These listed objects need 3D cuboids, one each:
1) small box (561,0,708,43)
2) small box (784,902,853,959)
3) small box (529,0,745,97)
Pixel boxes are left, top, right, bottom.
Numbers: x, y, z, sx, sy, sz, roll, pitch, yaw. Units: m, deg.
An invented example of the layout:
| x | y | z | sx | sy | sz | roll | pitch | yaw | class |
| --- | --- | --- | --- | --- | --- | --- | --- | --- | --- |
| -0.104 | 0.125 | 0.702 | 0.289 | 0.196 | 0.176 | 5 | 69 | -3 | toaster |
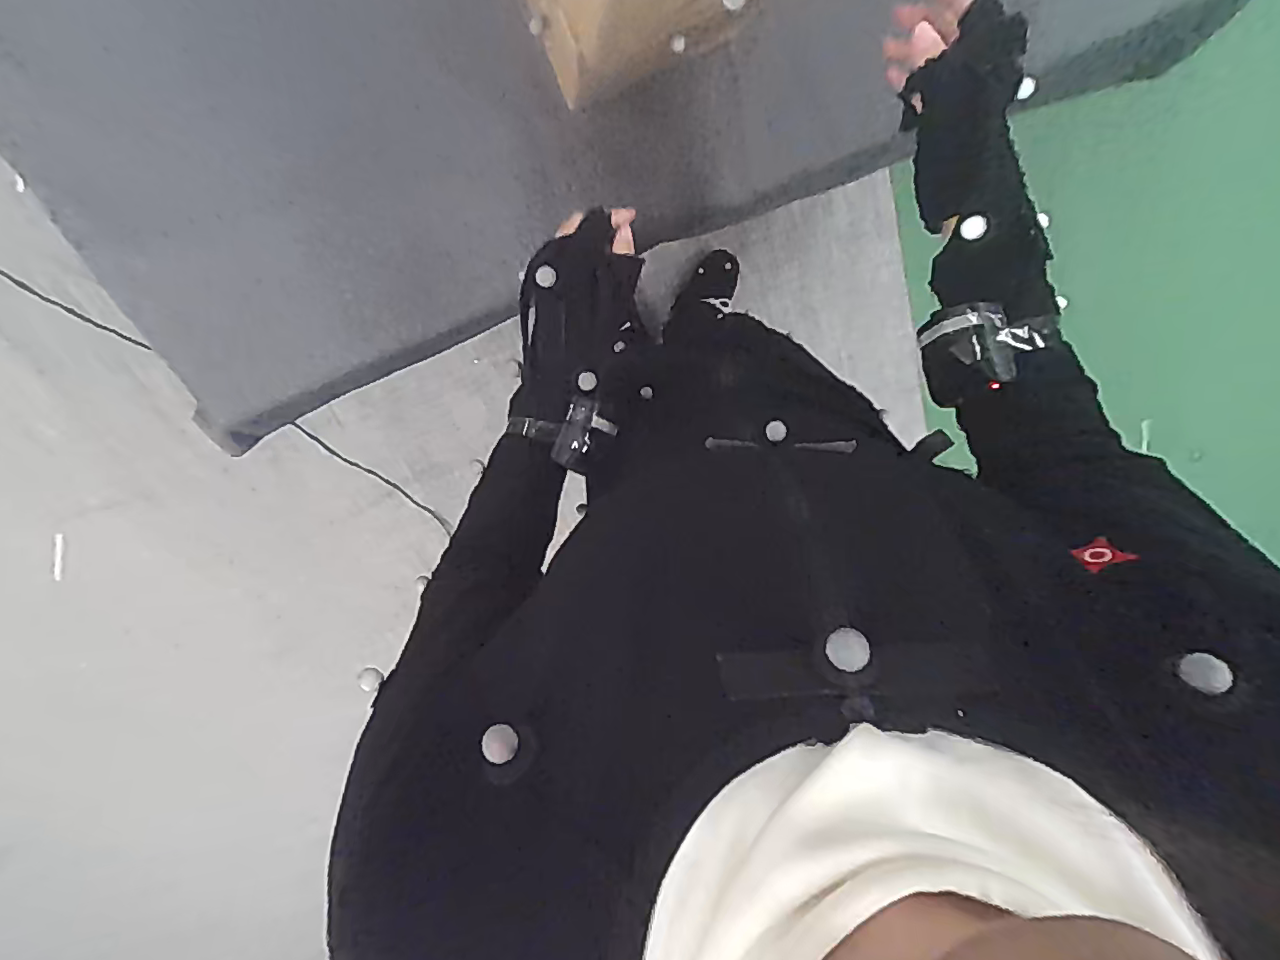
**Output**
| x | y | z | sx | sy | sz | roll | pitch | yaw | class |
| --- | --- | --- | --- | --- | --- | --- | --- | --- | --- |
| 0.015 | -0.352 | 0.260 | 0.168 | 0.176 | 0.179 | -24 | 116 | 3 | small box |
| 0.626 | 1.632 | 1.890 | 0.179 | 0.176 | 0.168 | -33 | 114 | 8 | small box |
| -0.010 | -0.425 | 0.405 | 0.179 | 0.176 | 0.168 | -25 | 116 | 1 | small box |
